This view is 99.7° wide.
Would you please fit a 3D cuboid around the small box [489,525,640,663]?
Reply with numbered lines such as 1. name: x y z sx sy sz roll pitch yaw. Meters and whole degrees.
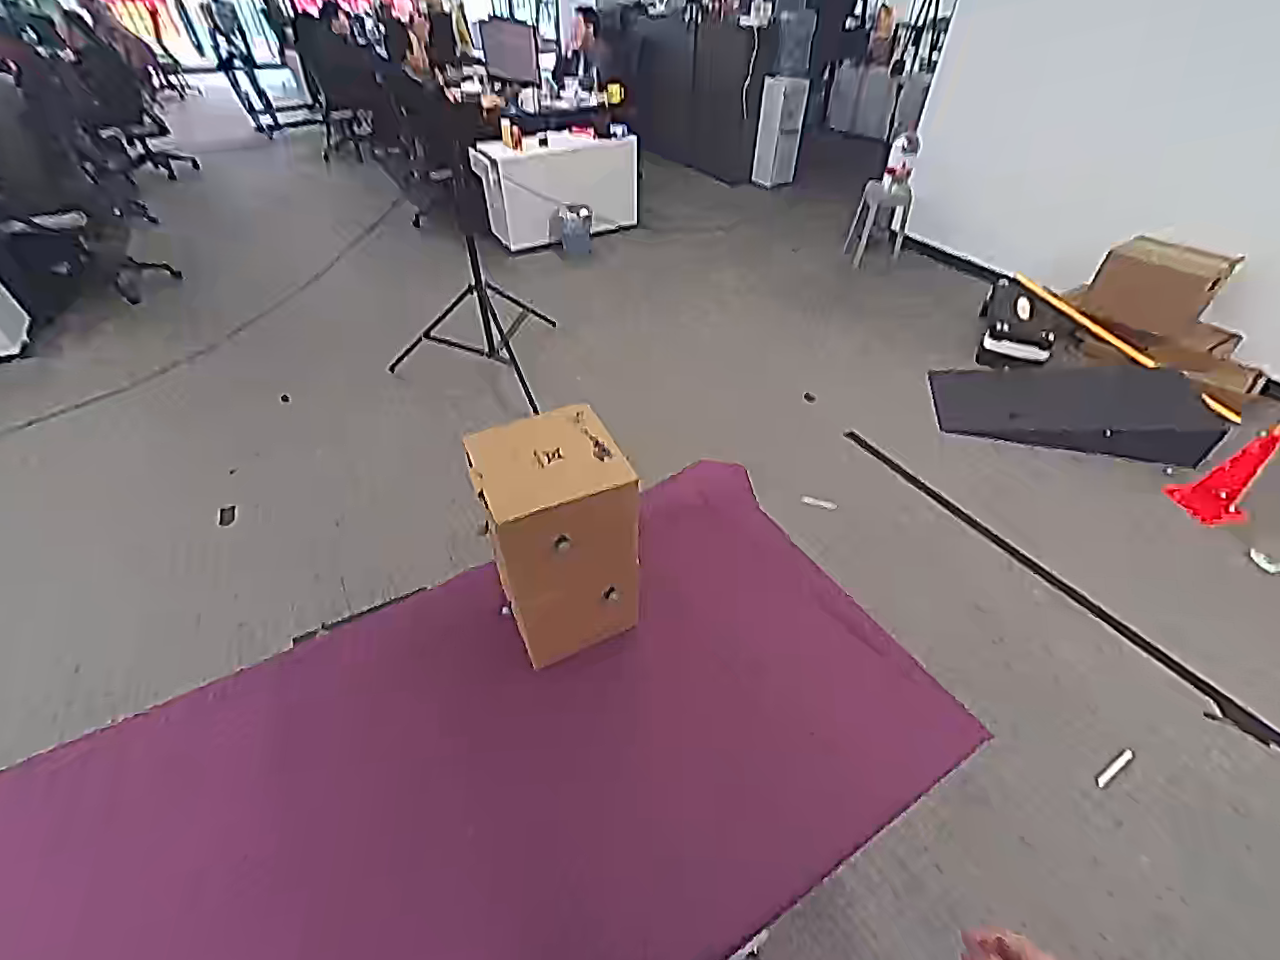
1. small box: -0.113 0.145 0.828 0.179 0.176 0.168 -20 48 -19

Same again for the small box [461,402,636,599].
1. small box: -0.114 0.028 0.714 0.179 0.176 0.168 -19 49 -18
